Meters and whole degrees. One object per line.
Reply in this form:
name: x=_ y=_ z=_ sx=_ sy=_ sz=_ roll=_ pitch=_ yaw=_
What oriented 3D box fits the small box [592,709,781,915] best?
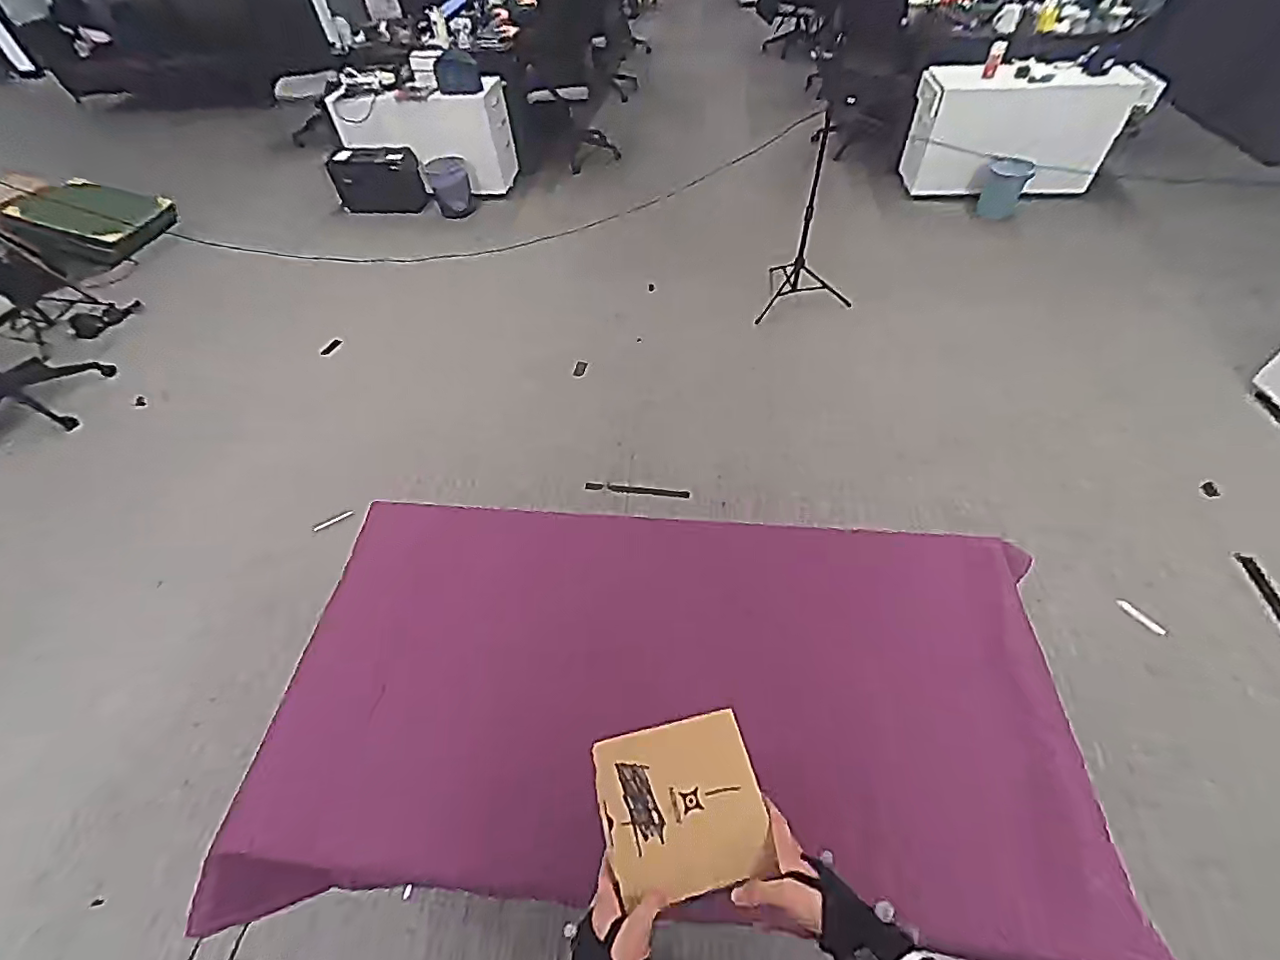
small box: x=0.049 y=0.405 z=0.656 sx=0.179 sy=0.176 sz=0.168 roll=-12 pitch=52 yaw=-7
